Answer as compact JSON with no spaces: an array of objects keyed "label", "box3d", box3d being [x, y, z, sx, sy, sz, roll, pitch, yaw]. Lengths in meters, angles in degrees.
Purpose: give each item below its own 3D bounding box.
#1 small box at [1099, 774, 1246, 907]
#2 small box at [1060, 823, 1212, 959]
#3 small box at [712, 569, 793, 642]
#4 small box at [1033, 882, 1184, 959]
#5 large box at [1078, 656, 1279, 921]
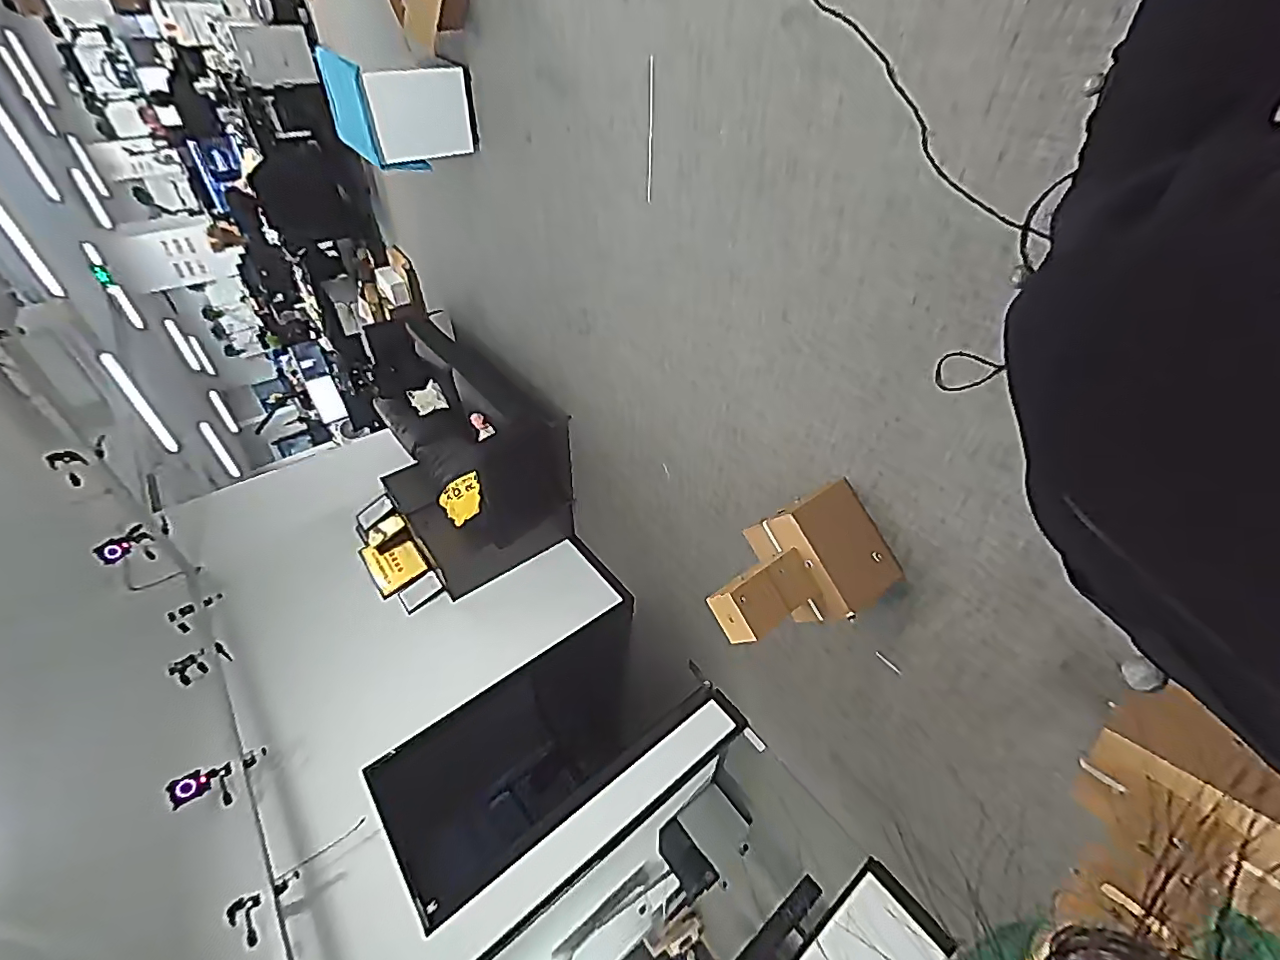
[{"label":"small box","box3d":[1.161,0.797,1.188,0.179,0.176,0.168,34,140,43]},{"label":"small box","box3d":[1.027,0.863,1.121,0.168,0.176,0.179,35,141,42]},{"label":"small box","box3d":[0.382,0.427,1.830,0.179,0.176,0.168,60,152,7]},{"label":"small box","box3d":[0.900,0.934,1.043,0.168,0.176,0.179,34,139,43]},{"label":"large box","box3d":[1.370,0.706,1.281,0.408,0.320,0.320,29,139,45]}]
